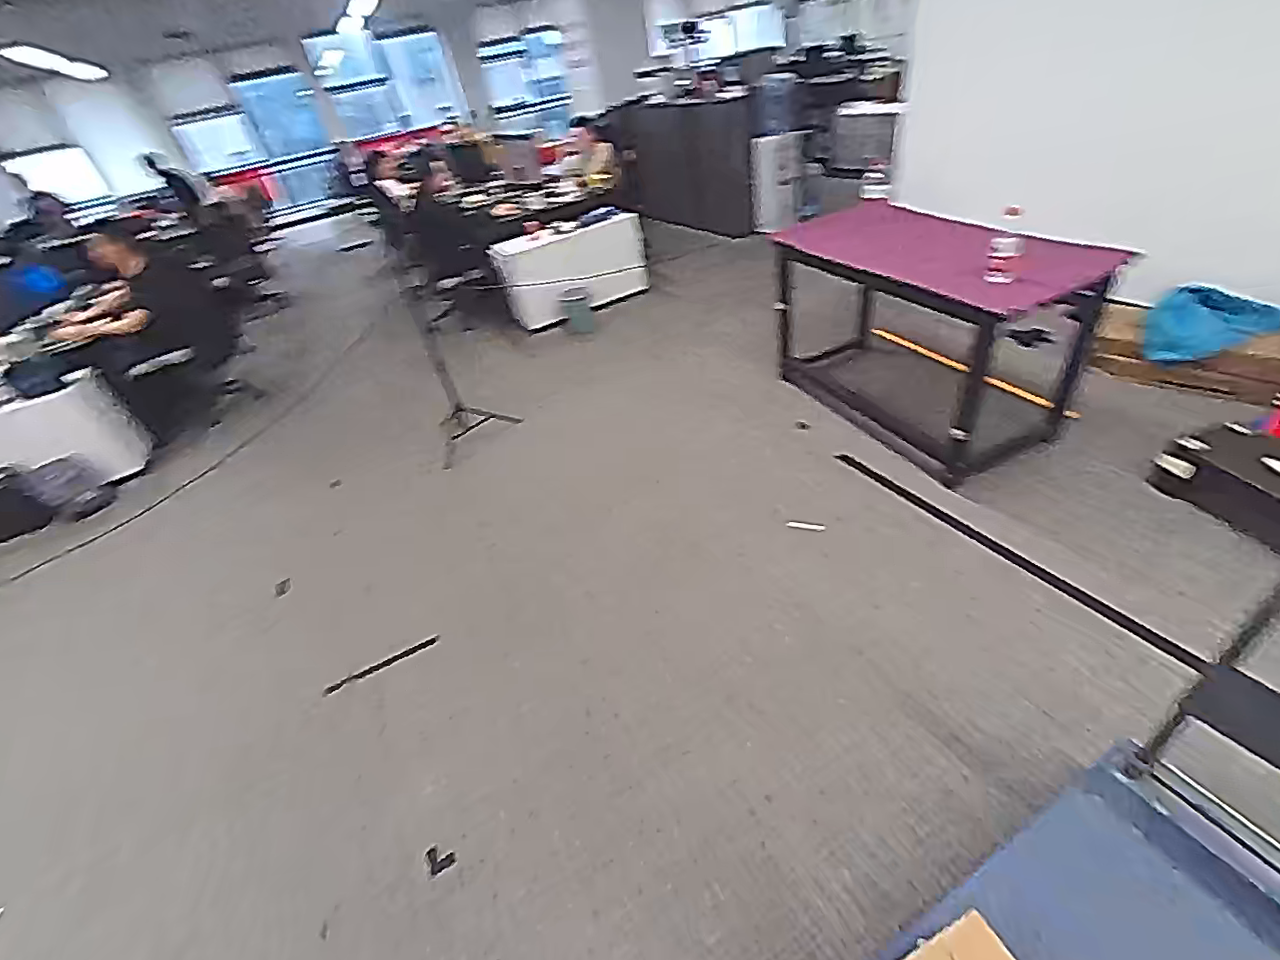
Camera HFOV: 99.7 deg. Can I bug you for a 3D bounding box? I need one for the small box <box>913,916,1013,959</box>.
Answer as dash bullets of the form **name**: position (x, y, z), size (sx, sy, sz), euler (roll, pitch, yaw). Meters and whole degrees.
- **small box**: position (0.524, 0.843, 0.845), size (0.168, 0.176, 0.179), euler (-22, 38, -13)
